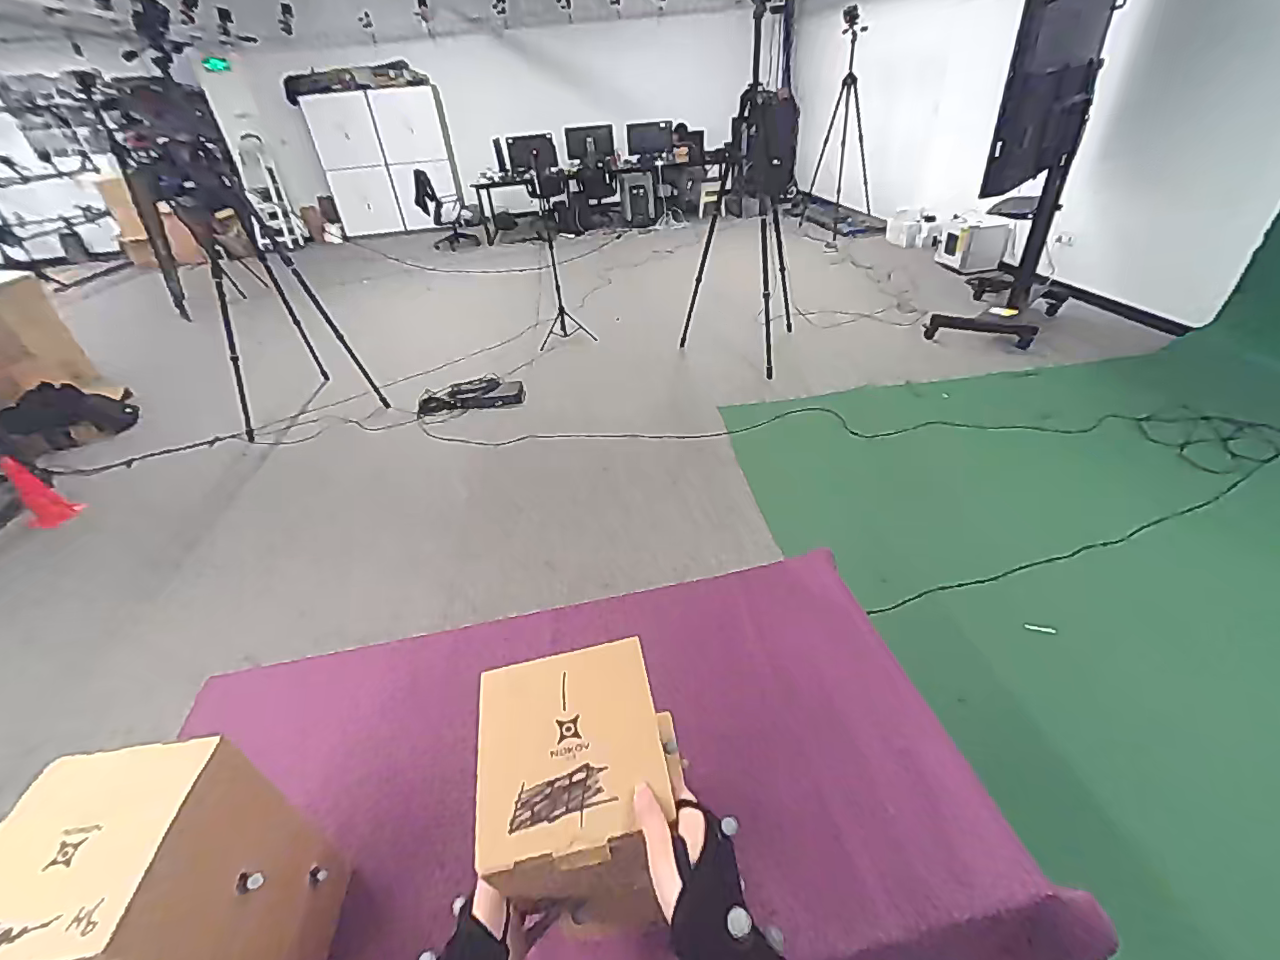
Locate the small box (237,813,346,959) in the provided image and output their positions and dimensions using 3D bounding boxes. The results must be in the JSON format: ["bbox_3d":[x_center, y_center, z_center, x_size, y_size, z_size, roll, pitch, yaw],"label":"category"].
[{"bbox_3d":[-0.465,0.517,0.613,0.168,0.176,0.179,-8,36,-1],"label":"small box"}]

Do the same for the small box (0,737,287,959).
[{"bbox_3d":[-0.480,0.383,0.518,0.168,0.176,0.179,-8,34,-1],"label":"small box"}]

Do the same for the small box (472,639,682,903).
[{"bbox_3d":[-0.059,0.294,0.541,0.168,0.176,0.179,-12,43,-4],"label":"small box"}]
